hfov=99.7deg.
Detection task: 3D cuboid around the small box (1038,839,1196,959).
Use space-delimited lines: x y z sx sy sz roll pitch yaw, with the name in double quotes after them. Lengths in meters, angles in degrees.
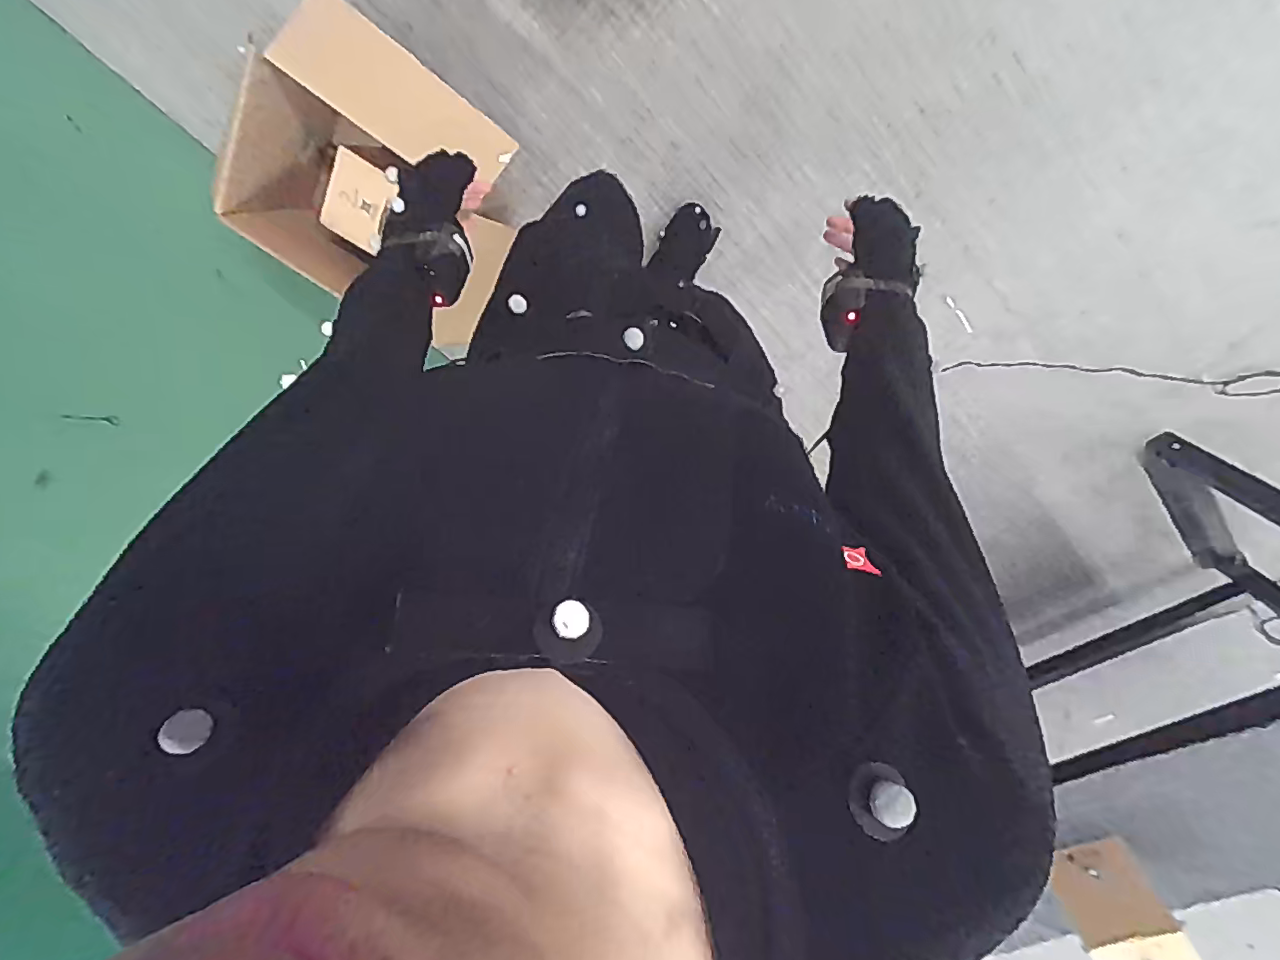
0.965 0.873 1.102 0.168 0.176 0.179 -33 113 20 "small box"
